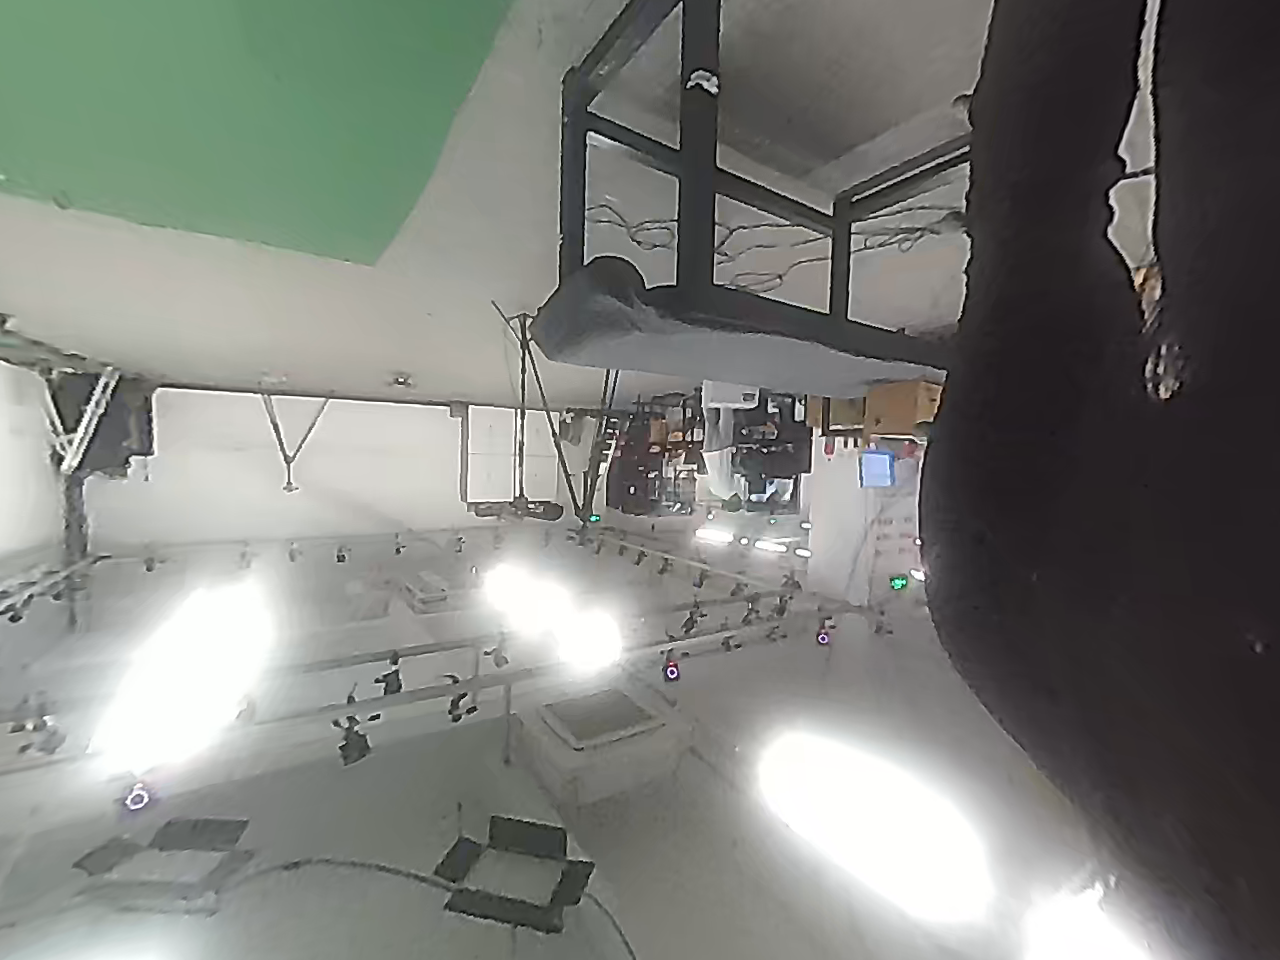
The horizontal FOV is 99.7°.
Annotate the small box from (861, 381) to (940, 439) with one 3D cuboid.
[{"bbox_3d":[0.849,-0.224,1.761,0.168,0.176,0.179,1,-176,-36],"label":"small box"}]
